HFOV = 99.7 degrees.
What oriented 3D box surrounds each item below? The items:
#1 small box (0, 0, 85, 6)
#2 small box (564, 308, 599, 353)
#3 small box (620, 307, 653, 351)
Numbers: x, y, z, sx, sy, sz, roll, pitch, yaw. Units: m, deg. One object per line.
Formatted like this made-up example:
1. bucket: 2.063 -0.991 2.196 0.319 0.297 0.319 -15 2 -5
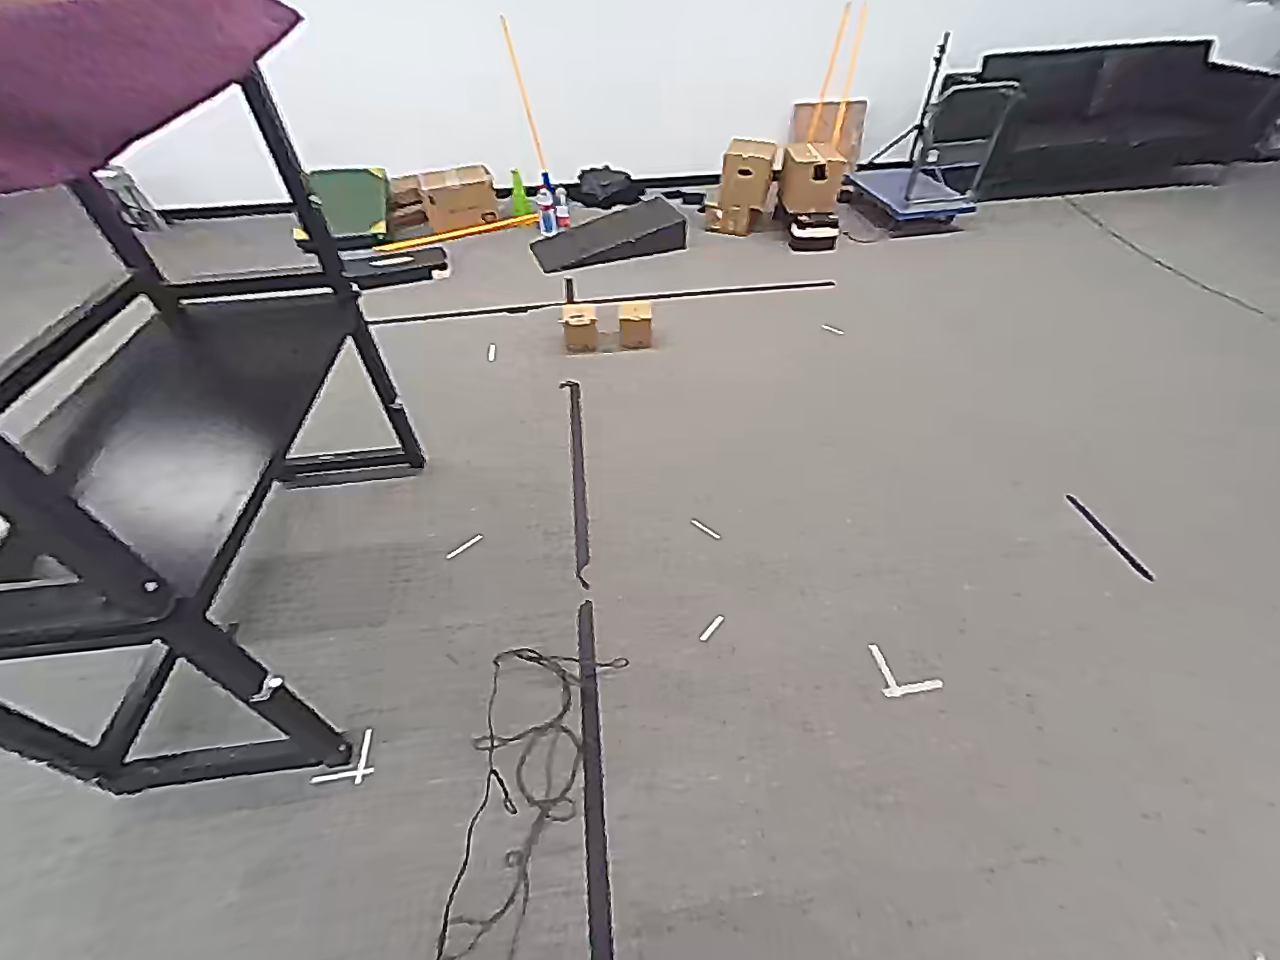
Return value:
1. small box: -0.989 -0.816 0.802 0.179 0.176 0.168 -11 45 -10
2. small box: -0.300 -0.769 2.806 0.168 0.176 0.179 -4 44 -3
3. small box: -0.018 -0.786 2.820 0.168 0.176 0.179 -1 44 -1
